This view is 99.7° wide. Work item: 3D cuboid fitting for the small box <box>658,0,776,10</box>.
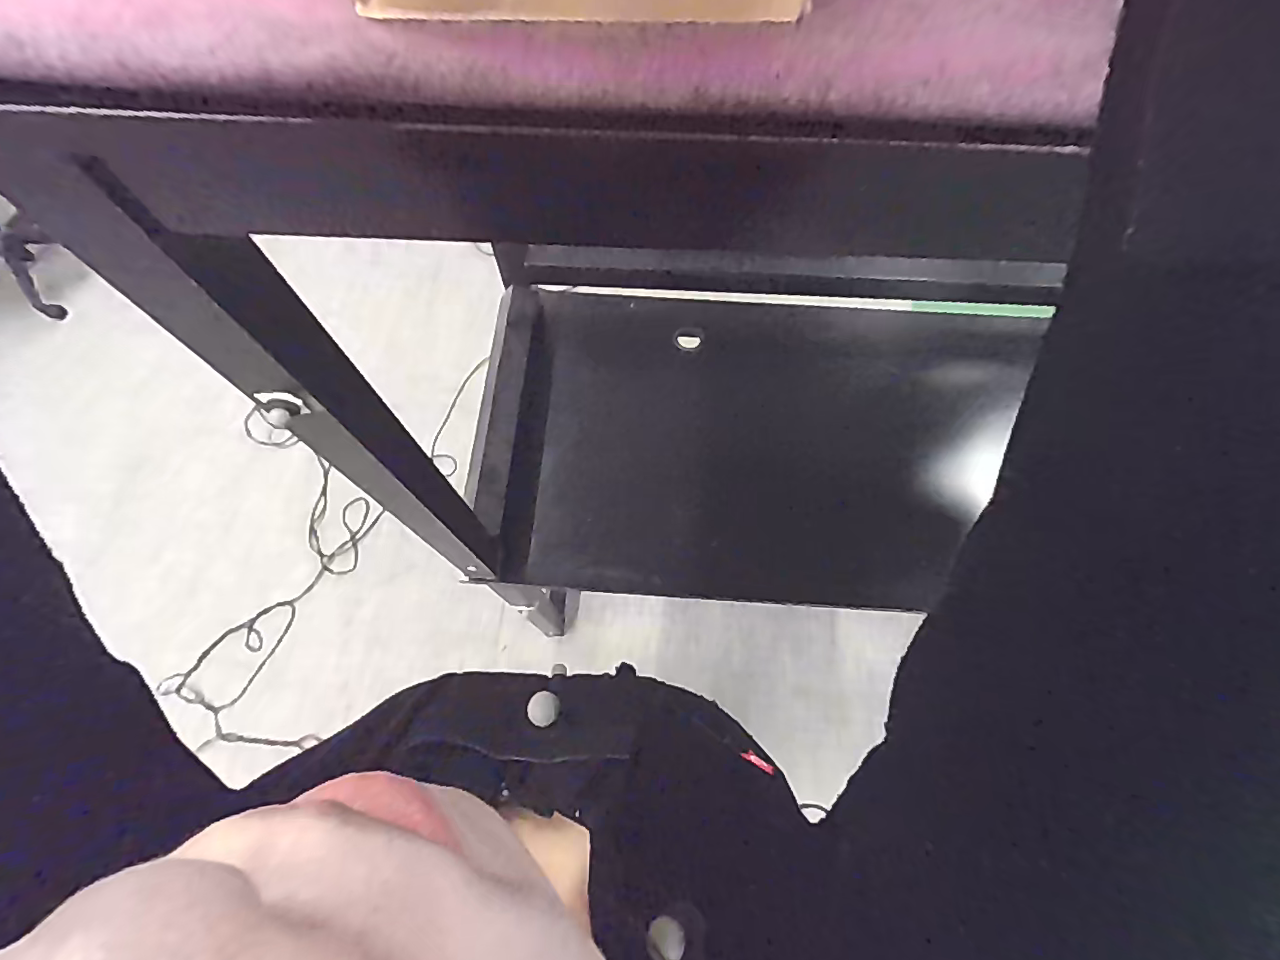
[{"bbox_3d":[-0.017,-0.284,0.154,0.168,0.176,0.179,0,68,-1],"label":"small box"}]
